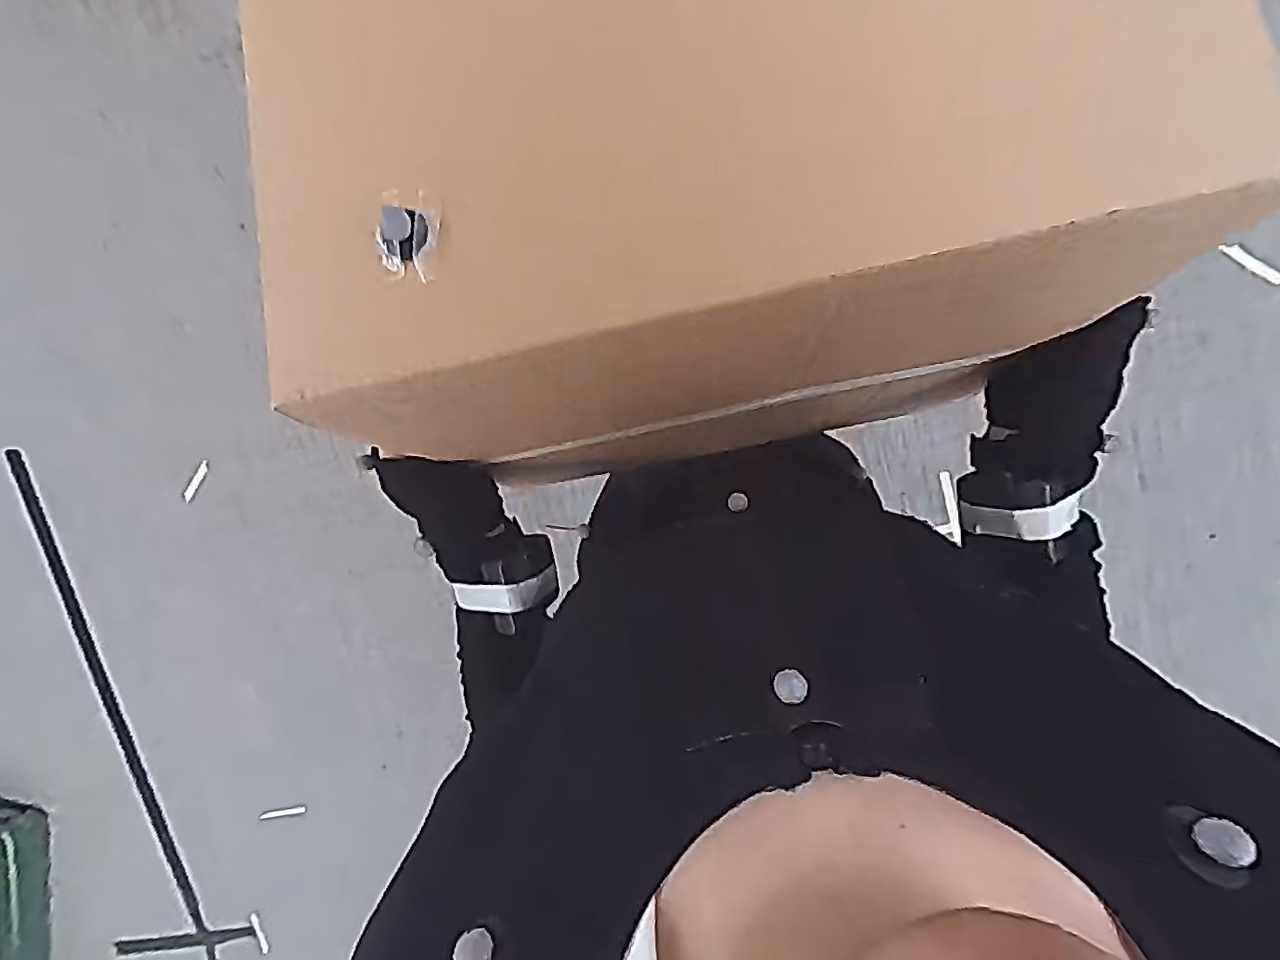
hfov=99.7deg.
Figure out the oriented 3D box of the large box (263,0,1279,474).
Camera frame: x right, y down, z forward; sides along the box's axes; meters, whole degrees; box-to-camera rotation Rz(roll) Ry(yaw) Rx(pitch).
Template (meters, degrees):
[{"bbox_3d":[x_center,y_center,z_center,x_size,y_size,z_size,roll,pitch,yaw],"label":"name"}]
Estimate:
[{"bbox_3d":[0.034,-0.209,0.381,0.408,0.320,0.320,-11,82,5],"label":"large box"}]
